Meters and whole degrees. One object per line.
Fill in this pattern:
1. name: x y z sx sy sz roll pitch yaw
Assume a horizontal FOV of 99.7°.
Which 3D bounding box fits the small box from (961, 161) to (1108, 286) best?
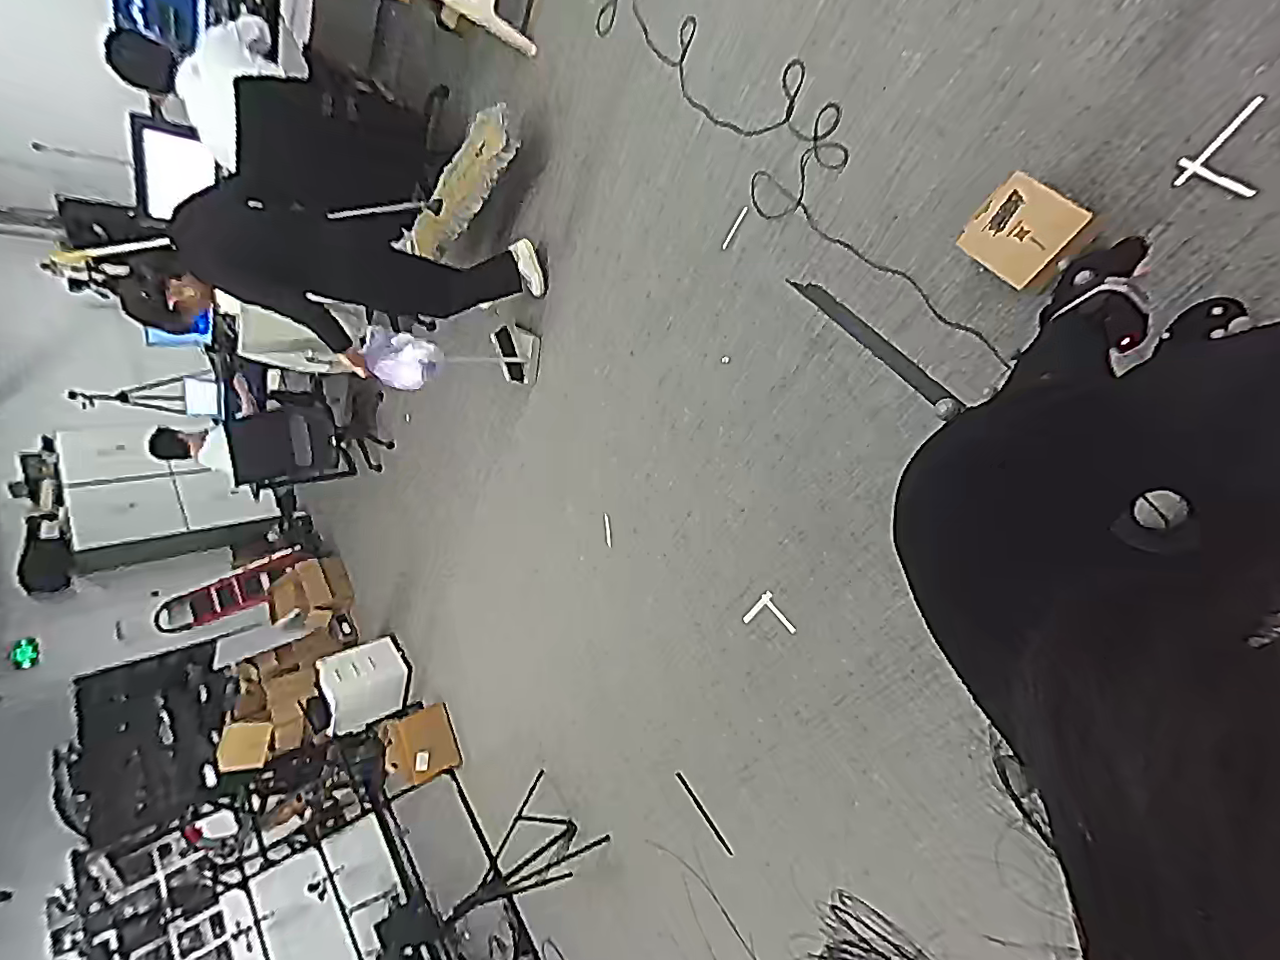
1. small box: 0.828 -0.527 1.136 0.179 0.176 0.168 54 131 23
